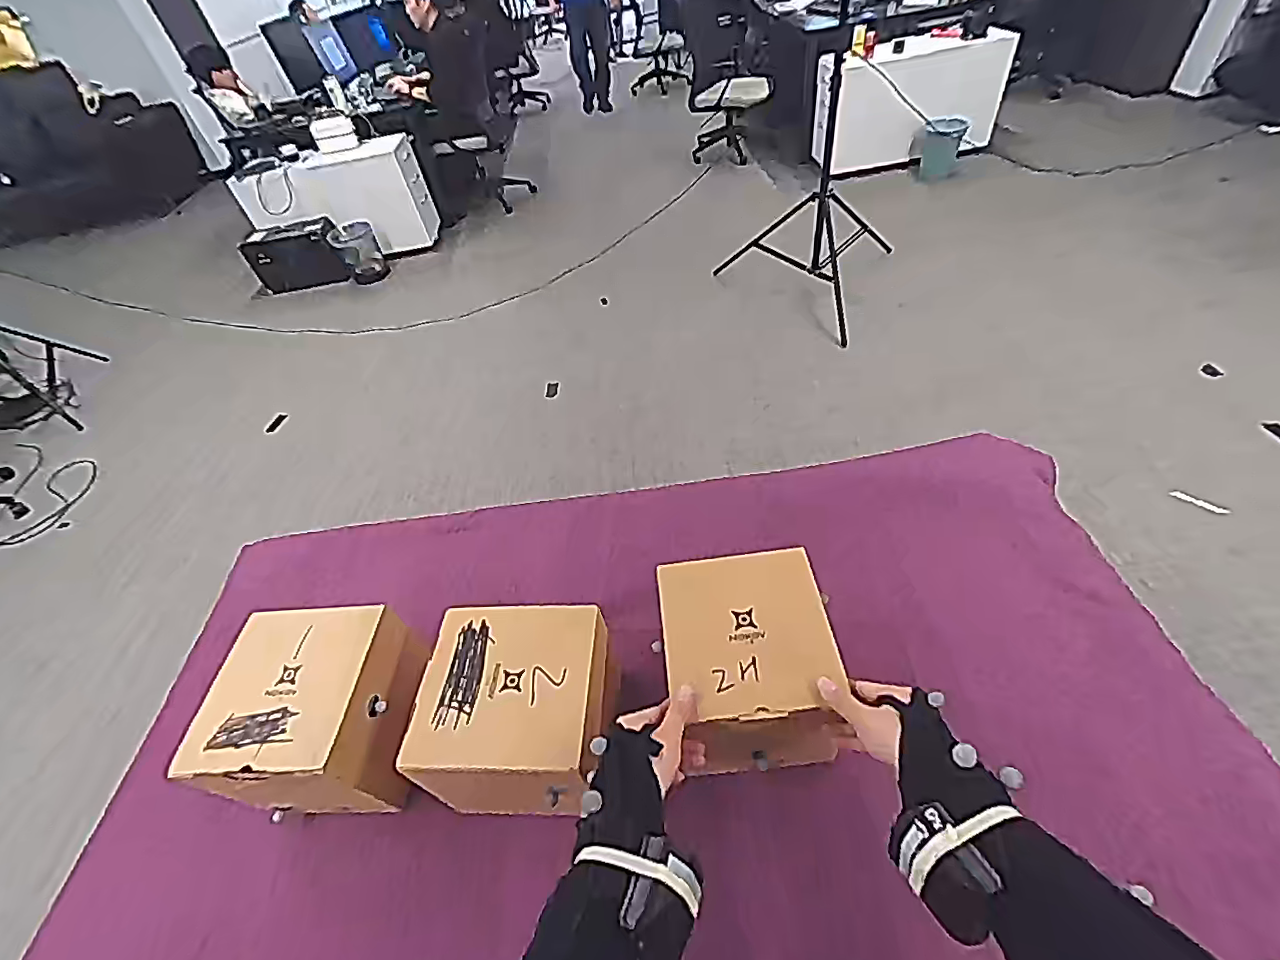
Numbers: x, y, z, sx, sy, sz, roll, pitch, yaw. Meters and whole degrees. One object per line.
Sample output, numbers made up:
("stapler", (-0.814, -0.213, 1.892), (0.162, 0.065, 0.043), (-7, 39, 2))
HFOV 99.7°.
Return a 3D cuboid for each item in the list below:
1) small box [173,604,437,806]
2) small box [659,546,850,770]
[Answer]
("small box", (-0.360, 0.265, 0.627), (0.168, 0.176, 0.179), (-4, 47, 6))
("small box", (0.114, 0.199, 0.602), (0.168, 0.176, 0.179), (-8, 47, 4))
